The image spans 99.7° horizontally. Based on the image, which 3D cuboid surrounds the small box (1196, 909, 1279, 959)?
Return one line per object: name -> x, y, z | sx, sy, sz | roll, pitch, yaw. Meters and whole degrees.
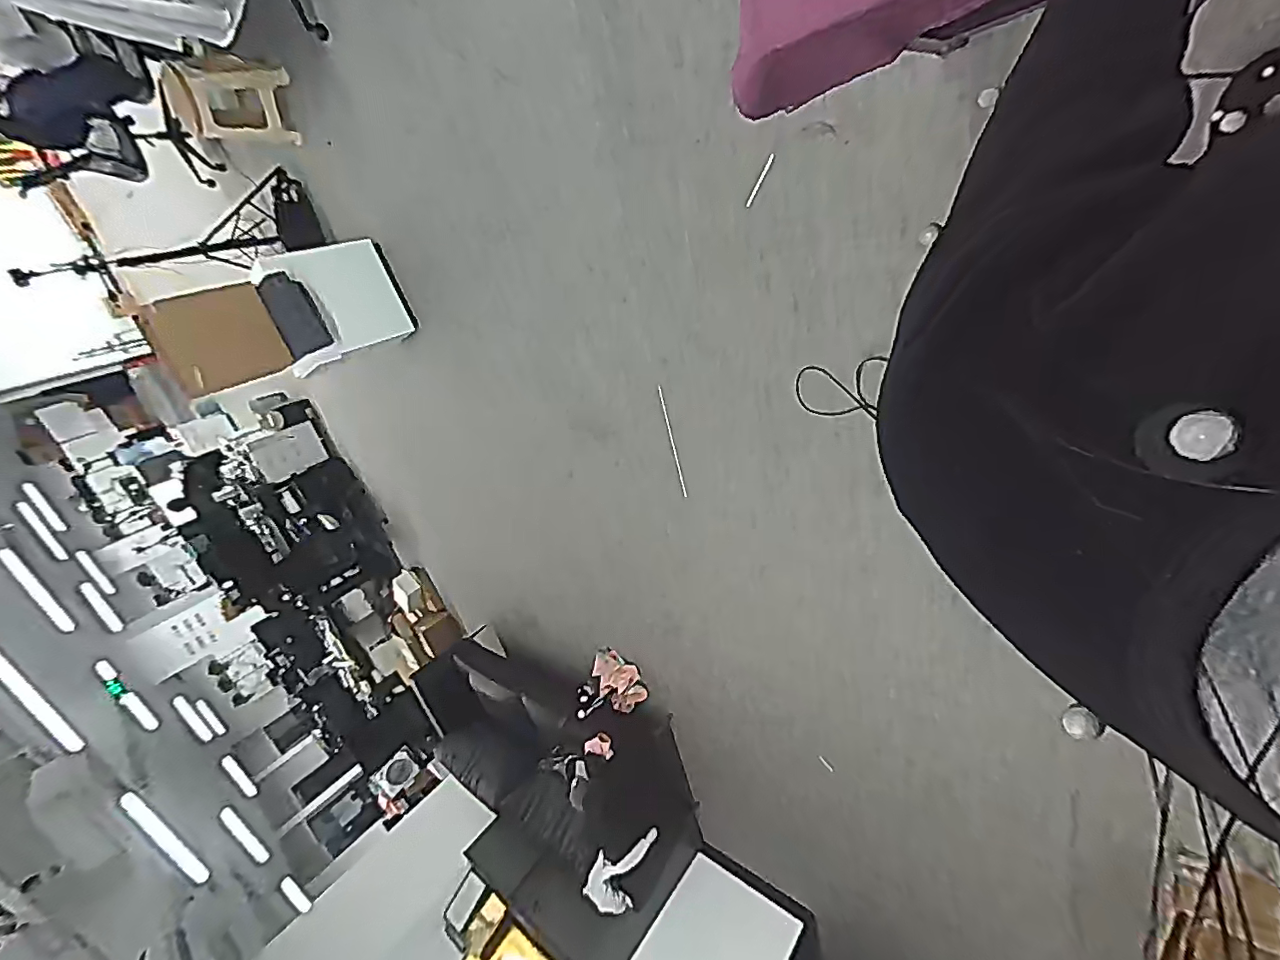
small box -> 1.648, 1.338, 1.473 | 0.168, 0.176, 0.179 | 9, 122, 40
